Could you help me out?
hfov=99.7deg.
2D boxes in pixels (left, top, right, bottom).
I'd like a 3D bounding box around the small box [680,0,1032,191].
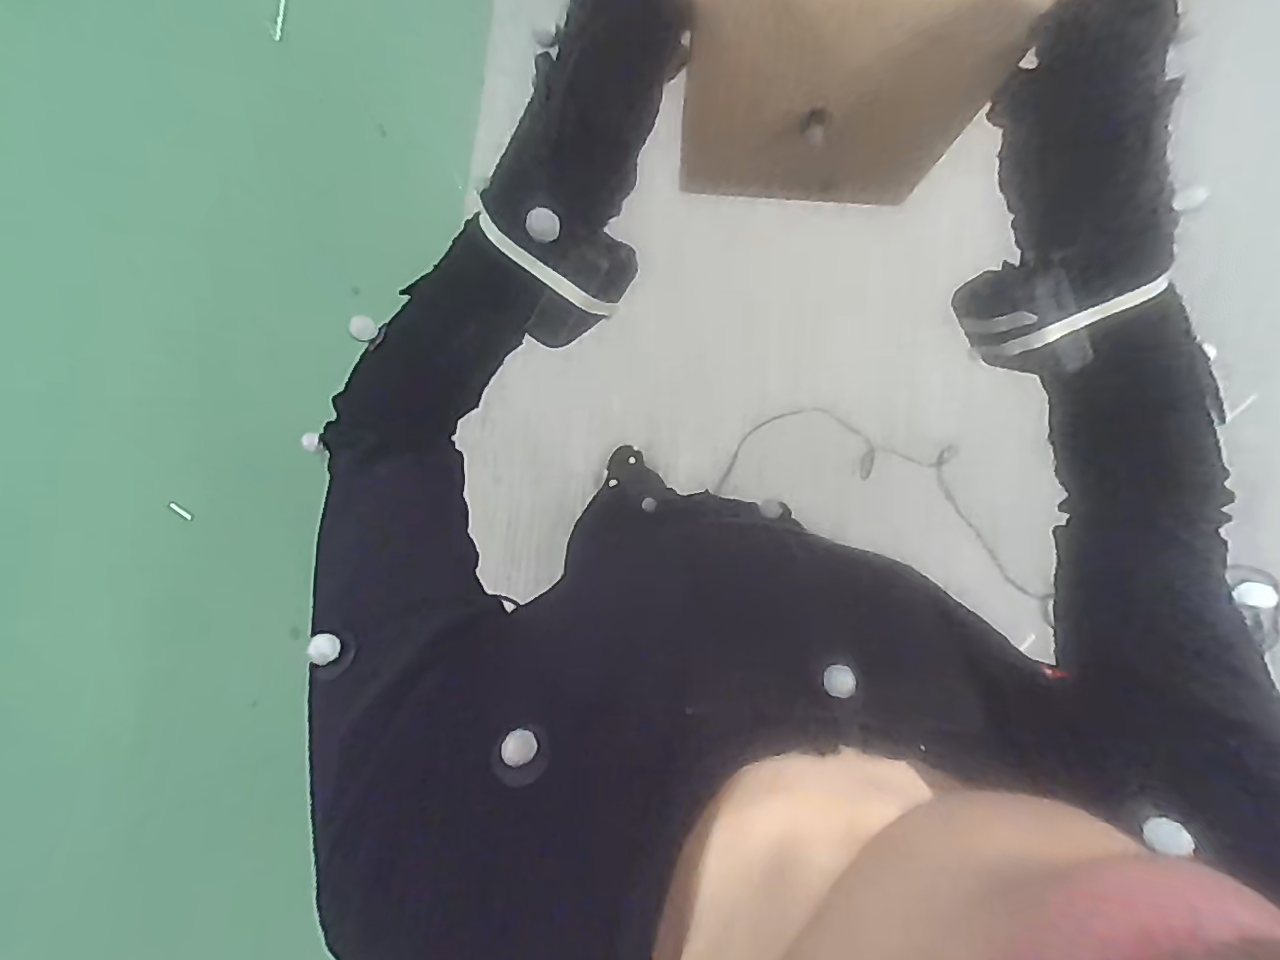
[{"bbox_3d":[0.114,-0.304,0.324,0.168,0.176,0.179,4,85,1],"label":"small box"}]
